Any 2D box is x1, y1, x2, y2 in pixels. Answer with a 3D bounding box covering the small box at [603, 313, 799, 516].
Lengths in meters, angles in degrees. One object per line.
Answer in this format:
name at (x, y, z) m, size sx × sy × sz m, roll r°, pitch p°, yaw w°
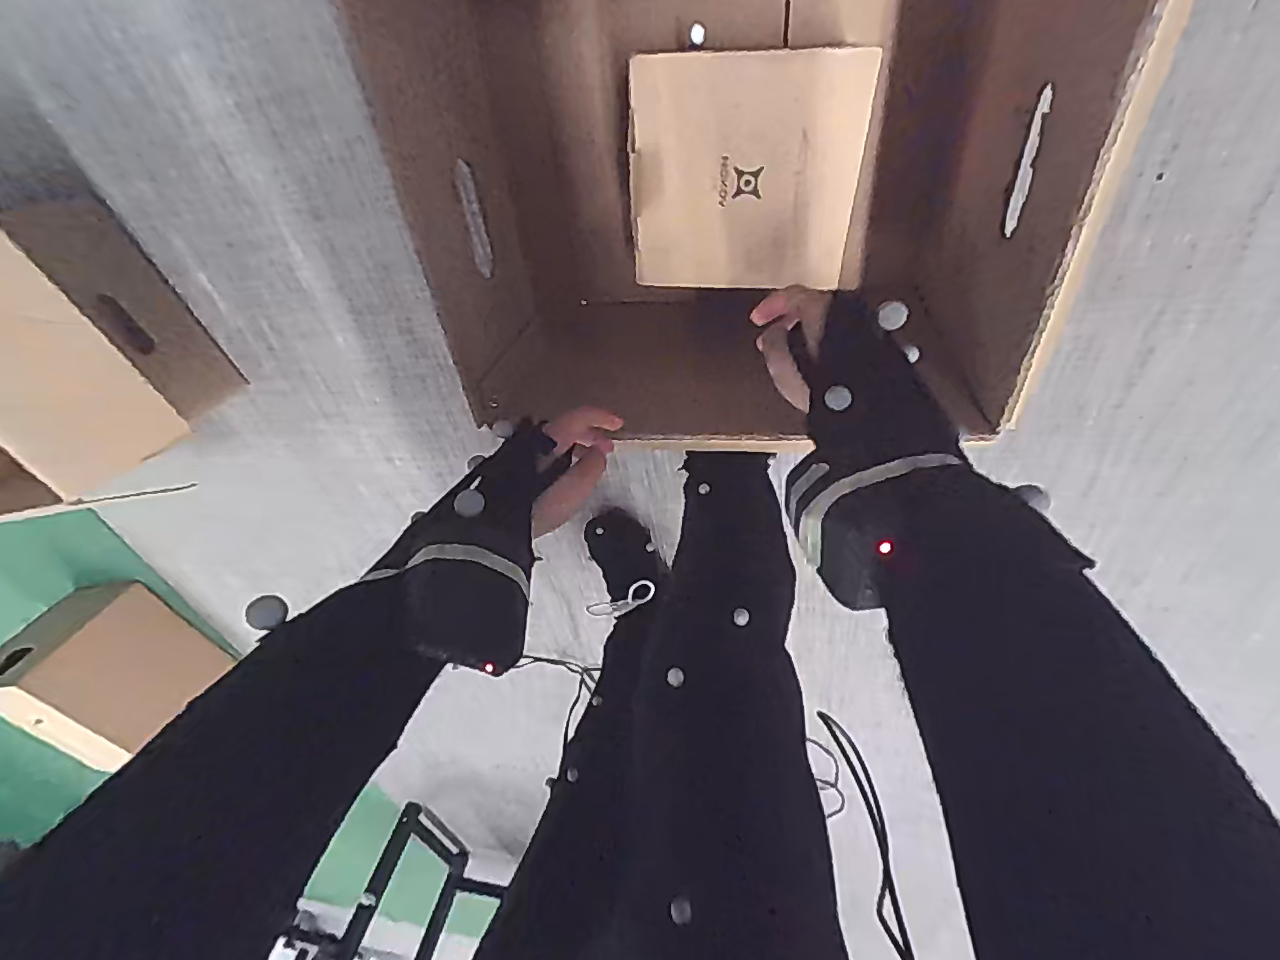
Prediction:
small box at (0.069, -0.065, 0.656) m, size 0.179 × 0.168 × 0.176 m, roll 14°, pitch 157°, yaw -14°
